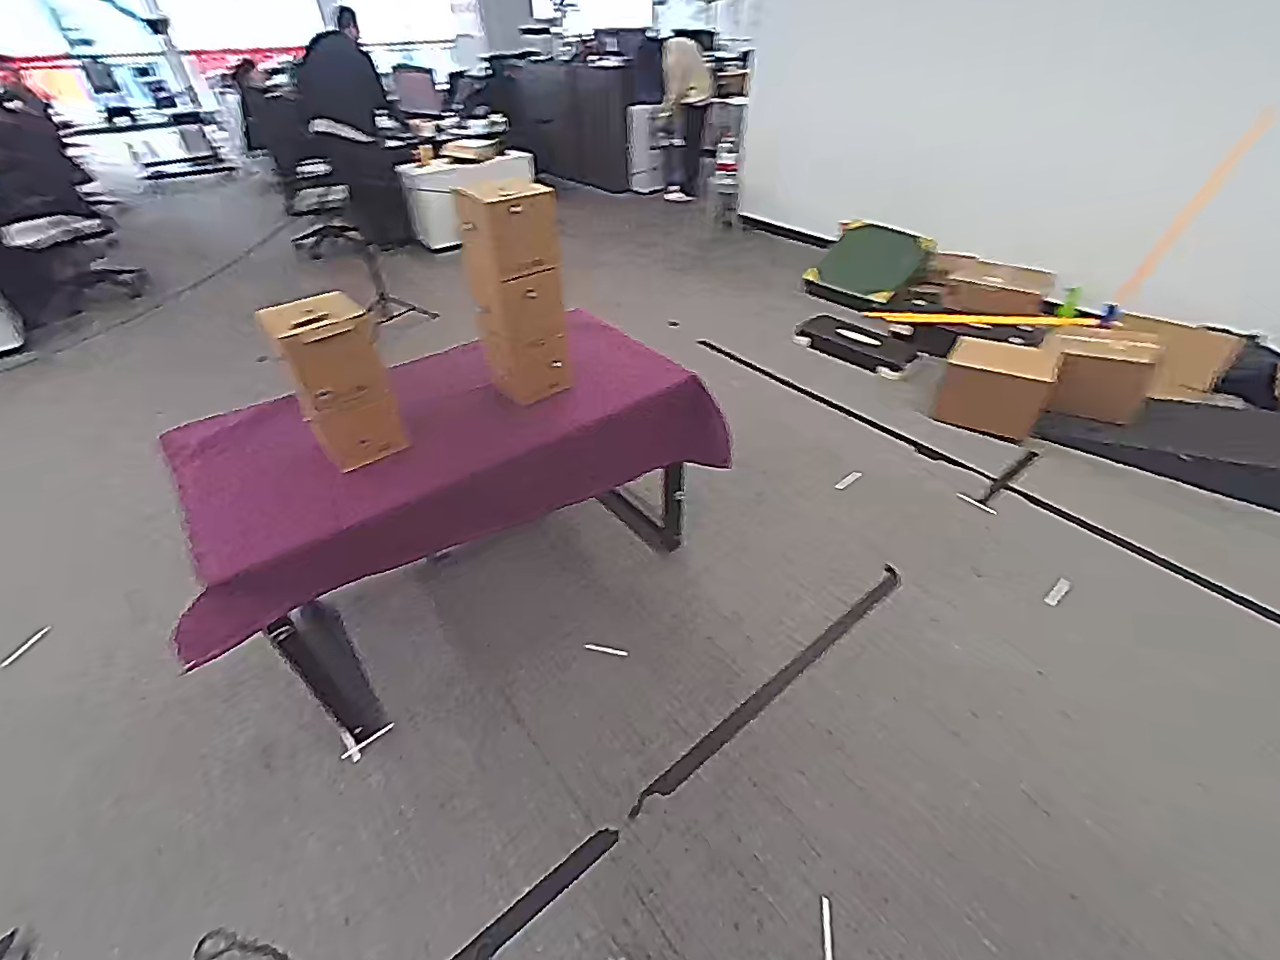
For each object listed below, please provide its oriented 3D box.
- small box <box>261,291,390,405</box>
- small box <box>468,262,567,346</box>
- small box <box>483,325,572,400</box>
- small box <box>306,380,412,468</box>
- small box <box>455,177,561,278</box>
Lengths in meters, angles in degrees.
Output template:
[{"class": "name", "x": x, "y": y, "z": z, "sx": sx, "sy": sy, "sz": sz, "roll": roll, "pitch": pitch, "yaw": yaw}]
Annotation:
[{"class": "small box", "x": -0.667, "y": -0.281, "z": 1.161, "sx": 0.168, "sy": 0.176, "sz": 0.179, "roll": -30, "pitch": 49, "yaw": -30}, {"class": "small box", "x": -0.300, "y": -0.456, "z": 1.352, "sx": 0.179, "sy": 0.176, "sz": 0.168, "roll": -29, "pitch": 49, "yaw": -29}, {"class": "small box", "x": -0.298, "y": -0.334, "z": 1.462, "sx": 0.168, "sy": 0.176, "sz": 0.179, "roll": -28, "pitch": 47, "yaw": -28}, {"class": "small box", "x": -0.664, "y": -0.157, "z": 1.269, "sx": 0.168, "sy": 0.176, "sz": 0.179, "roll": -29, "pitch": 49, "yaw": -29}, {"class": "small box", "x": -0.301, "y": -0.585, "z": 1.250, "sx": 0.168, "sy": 0.176, "sz": 0.179, "roll": -29, "pitch": 48, "yaw": -28}]
